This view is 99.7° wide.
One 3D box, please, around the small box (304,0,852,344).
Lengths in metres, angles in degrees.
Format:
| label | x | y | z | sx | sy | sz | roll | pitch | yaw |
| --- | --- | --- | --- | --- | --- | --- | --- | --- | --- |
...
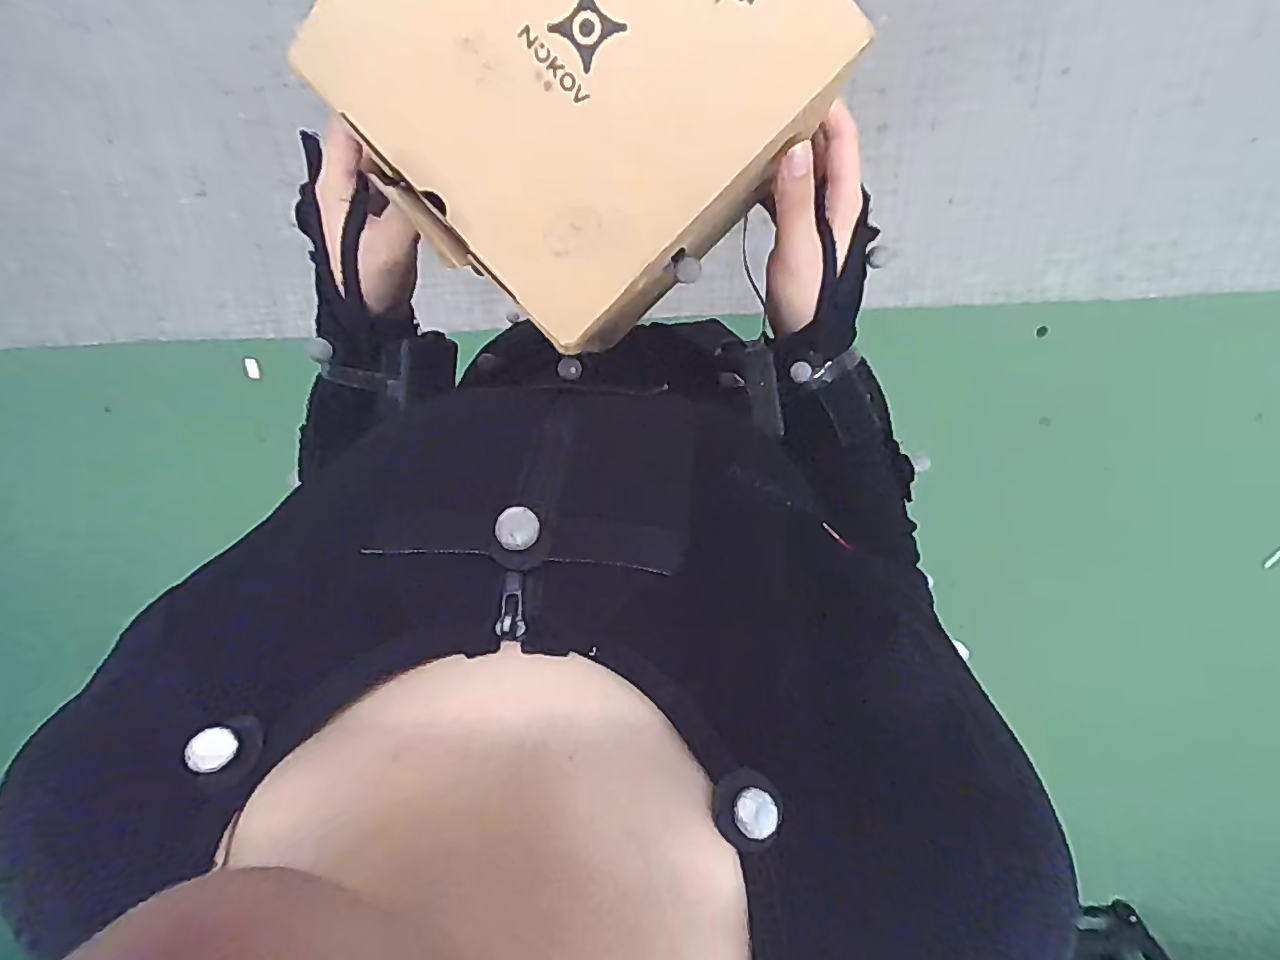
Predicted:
| label | x | y | z | sx | sy | sz | roll | pitch | yaw |
| --- | --- | --- | --- | --- | --- | --- | --- | --- | --- |
| small box | -0.023 | -0.193 | 0.300 | 0.179 | 0.176 | 0.168 | -43 | 97 | 13 |
